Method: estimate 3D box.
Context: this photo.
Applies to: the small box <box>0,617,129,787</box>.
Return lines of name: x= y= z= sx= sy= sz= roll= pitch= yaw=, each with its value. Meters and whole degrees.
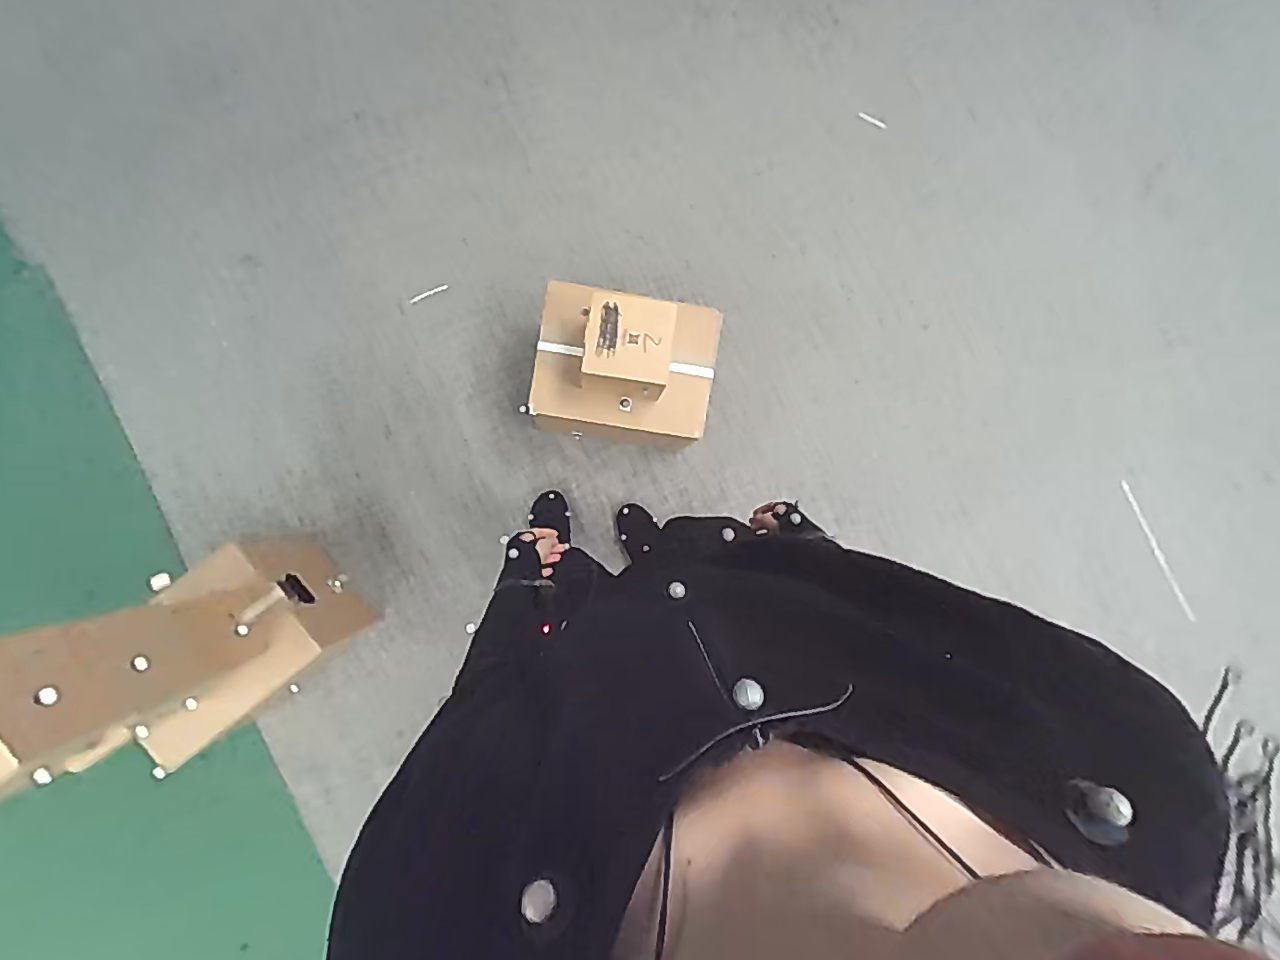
small box: x=-0.866 y=0.311 z=0.726 sx=0.168 sy=0.176 sz=0.179 roll=-35 pitch=92 yaw=-5

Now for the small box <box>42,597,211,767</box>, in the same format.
small box: x=-0.873 y=0.317 z=0.890 sx=0.168 sy=0.176 sz=0.179 roll=-34 pitch=91 yaw=-5

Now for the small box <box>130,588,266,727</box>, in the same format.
small box: x=-0.890 y=0.333 z=1.053 sx=0.179 sy=0.176 sz=0.168 roll=-35 pitch=92 yaw=-5

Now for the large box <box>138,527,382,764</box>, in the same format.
large box: x=-0.927 y=0.361 z=1.294 sx=0.408 sy=0.320 sz=0.320 roll=-39 pitch=89 yaw=-3
